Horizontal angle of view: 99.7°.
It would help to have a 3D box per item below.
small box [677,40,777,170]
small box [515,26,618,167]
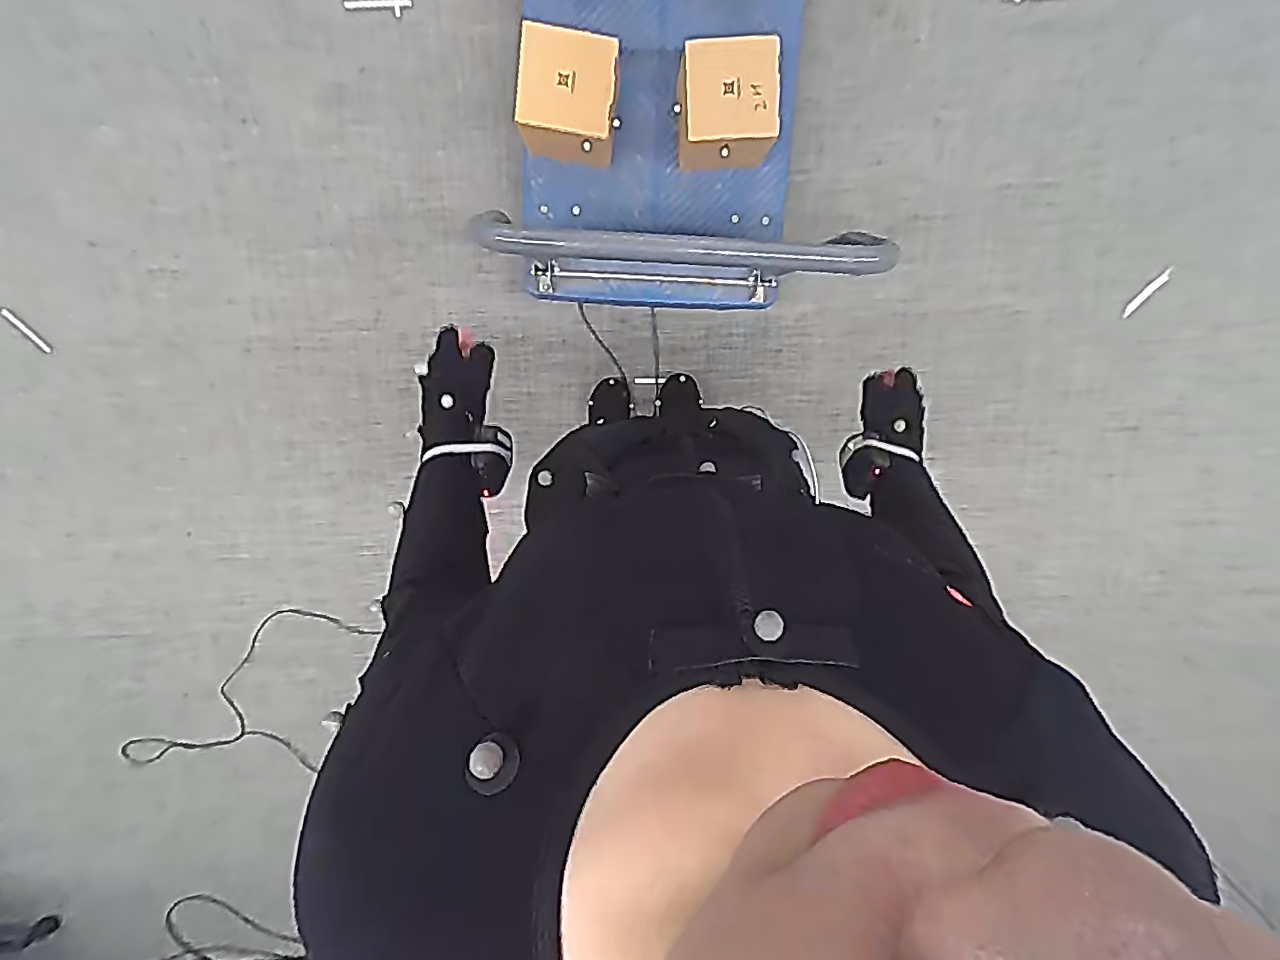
[{"bbox_3d":[0.166,-0.739,1.083,0.179,0.176,0.168,-3,103,-1],"label":"small box"},{"bbox_3d":[-0.141,-0.746,1.073,0.179,0.176,0.168,7,102,-5],"label":"small box"}]
